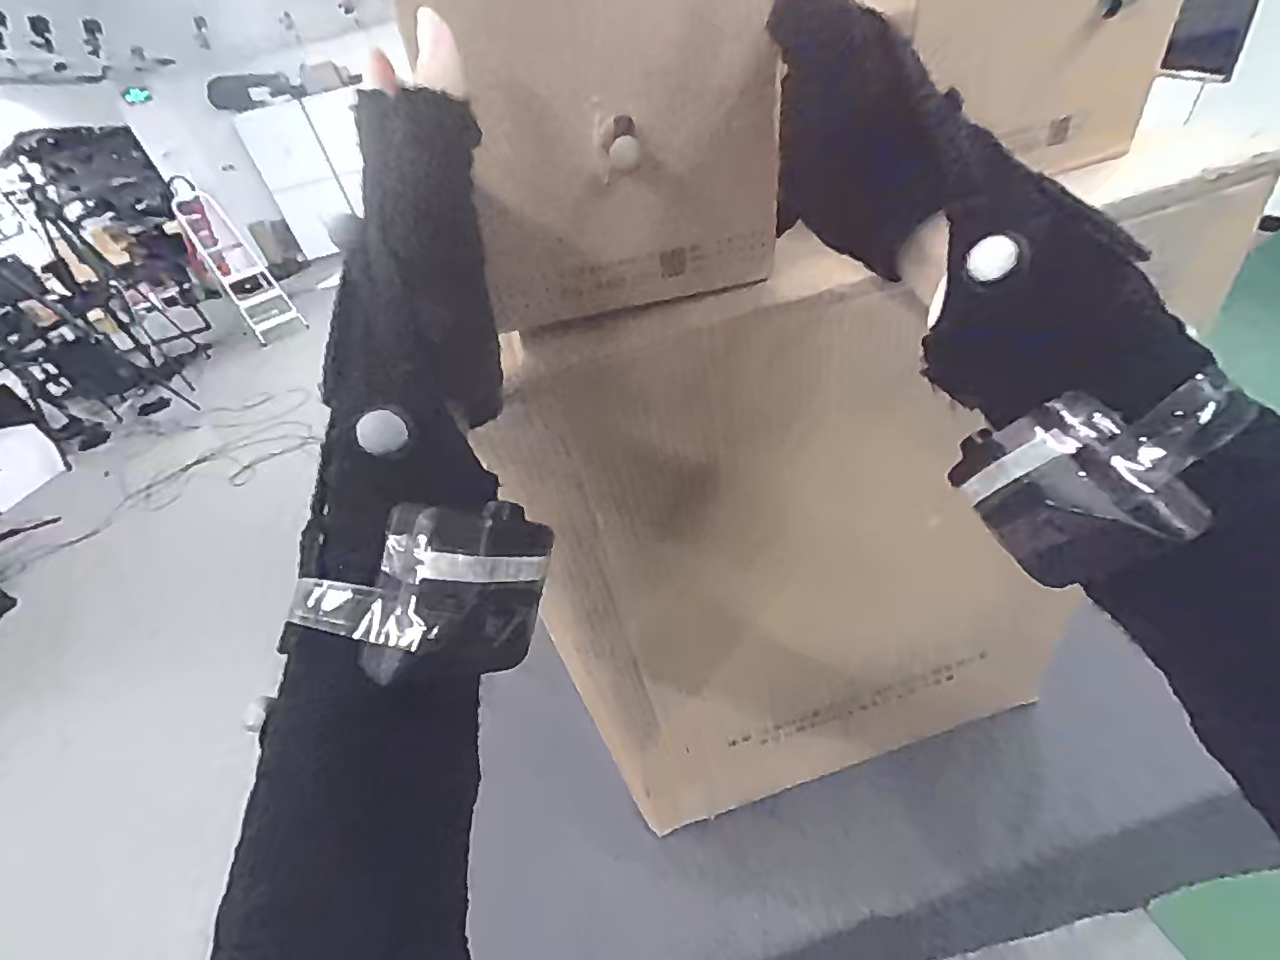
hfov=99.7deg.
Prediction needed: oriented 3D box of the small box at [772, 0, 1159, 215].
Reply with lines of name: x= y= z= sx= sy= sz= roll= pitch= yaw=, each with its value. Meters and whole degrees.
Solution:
small box: x=0.201 y=-0.292 z=0.362 sx=0.168 sy=0.176 sz=0.179 roll=-16 pitch=38 yaw=-5
